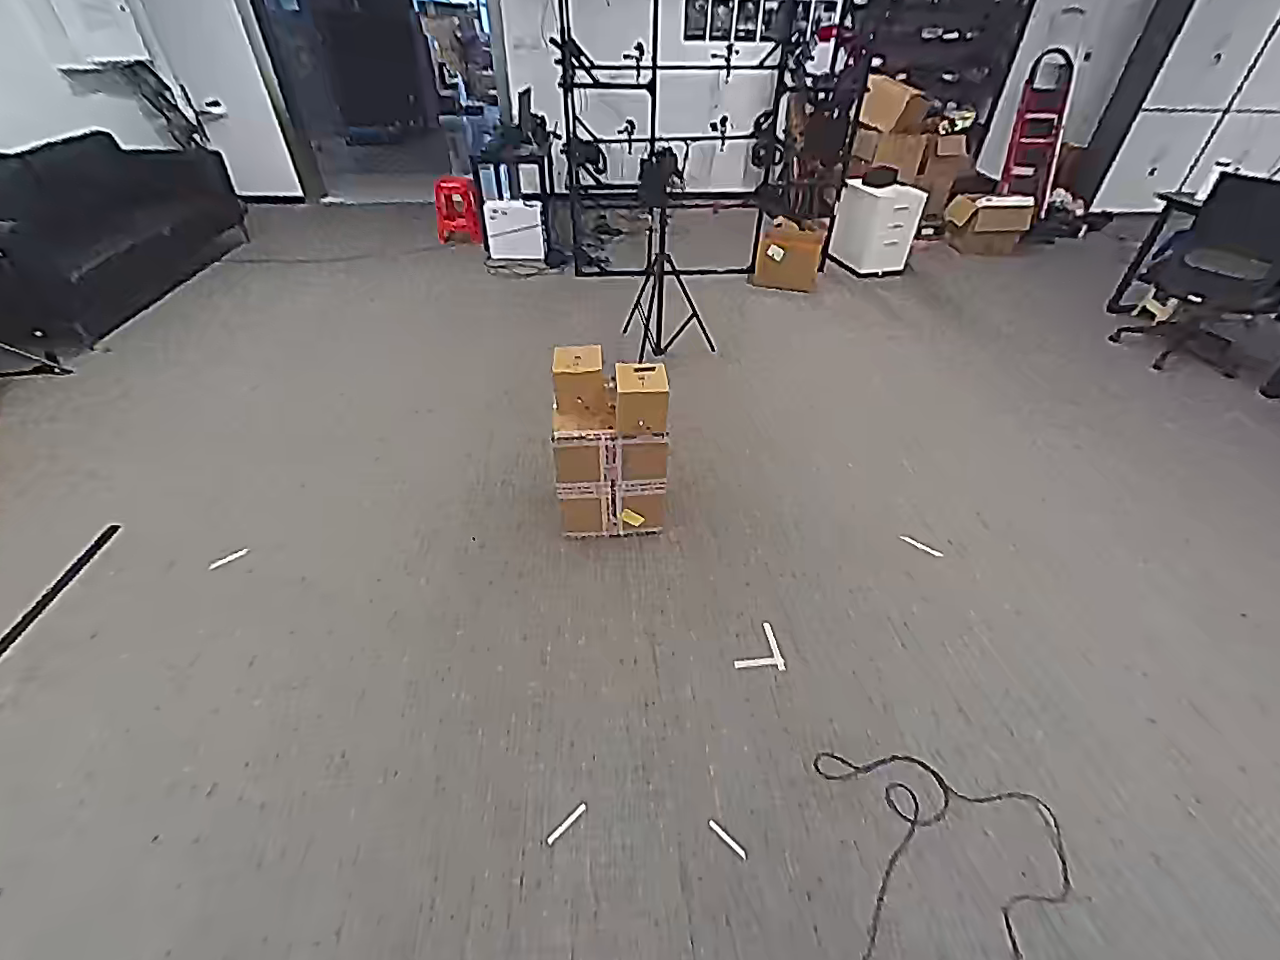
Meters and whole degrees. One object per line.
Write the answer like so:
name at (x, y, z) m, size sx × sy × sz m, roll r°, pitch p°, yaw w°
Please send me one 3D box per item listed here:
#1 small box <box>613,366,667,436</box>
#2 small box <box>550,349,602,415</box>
small box at (-0.006, -0.266, 1.819) m, size 0.168 × 0.176 × 0.179 m, roll -2°, pitch 43°, yaw -5°
small box at (-0.221, -0.345, 1.902) m, size 0.168 × 0.176 × 0.179 m, roll -3°, pitch 42°, yaw -3°
